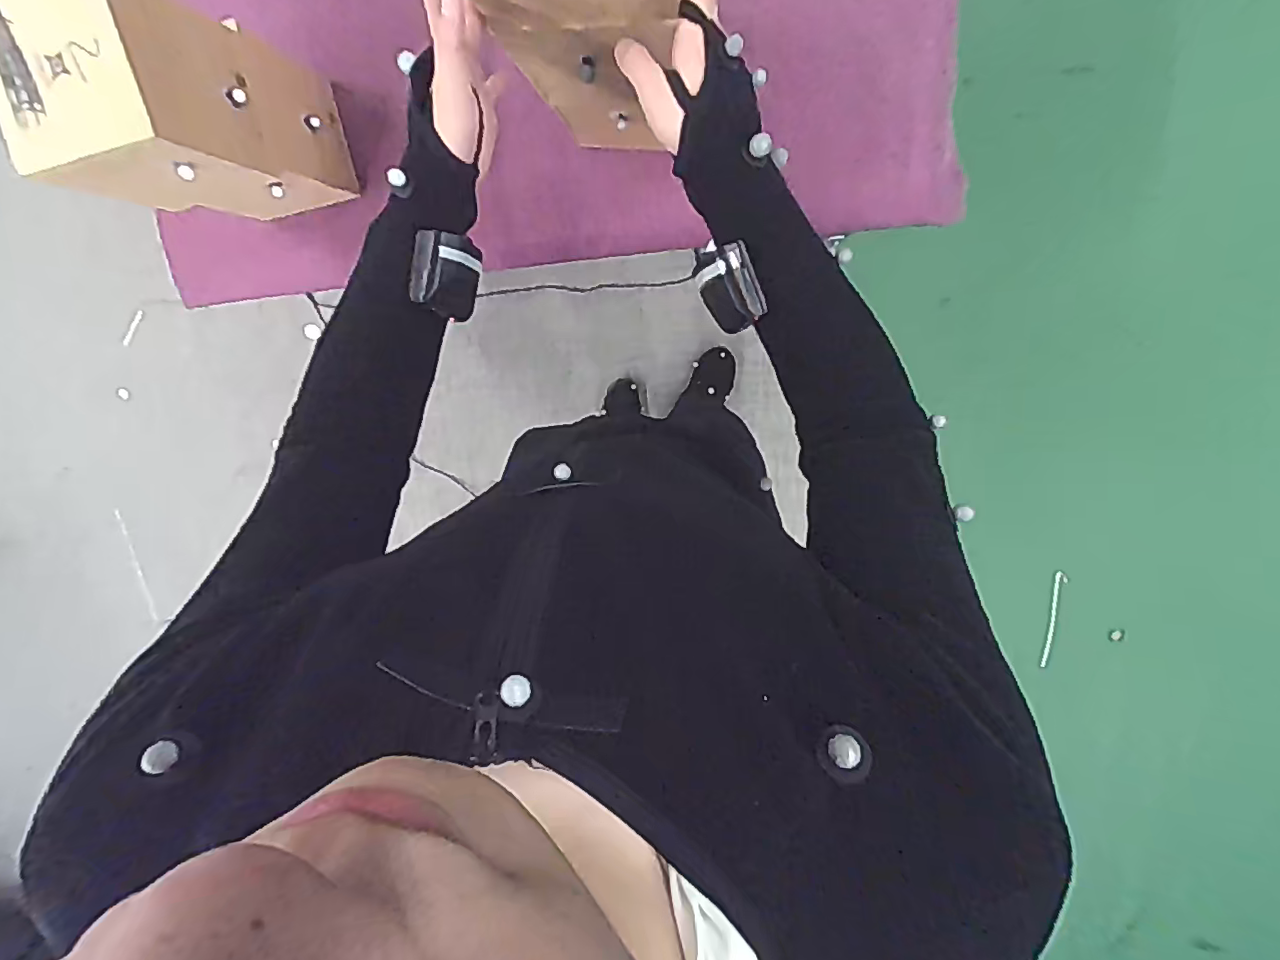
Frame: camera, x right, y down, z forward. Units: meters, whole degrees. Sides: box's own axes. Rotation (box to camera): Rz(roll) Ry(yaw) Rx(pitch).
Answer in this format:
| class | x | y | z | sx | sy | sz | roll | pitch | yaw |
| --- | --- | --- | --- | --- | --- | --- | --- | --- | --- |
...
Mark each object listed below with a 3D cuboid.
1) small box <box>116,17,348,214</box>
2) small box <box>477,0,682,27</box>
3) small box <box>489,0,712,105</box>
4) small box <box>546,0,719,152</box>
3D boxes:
| class | x | y | z | sx | sy | sz | roll | pitch | yaw |
| --- | --- | --- | --- | --- | --- | --- | --- | --- | --- |
| small box | -0.539 | -0.484 | 0.748 | 0.179 | 0.176 | 0.168 | -7 | 105 | 10 |
| small box | -0.047 | -0.431 | 0.347 | 0.179 | 0.176 | 0.168 | 4 | 107 | 8 |
| small box | -0.025 | -0.474 | 0.505 | 0.179 | 0.176 | 0.168 | 6 | 107 | 8 |
| small box | -0.002 | -0.520 | 0.660 | 0.179 | 0.176 | 0.168 | 8 | 107 | 6 |
